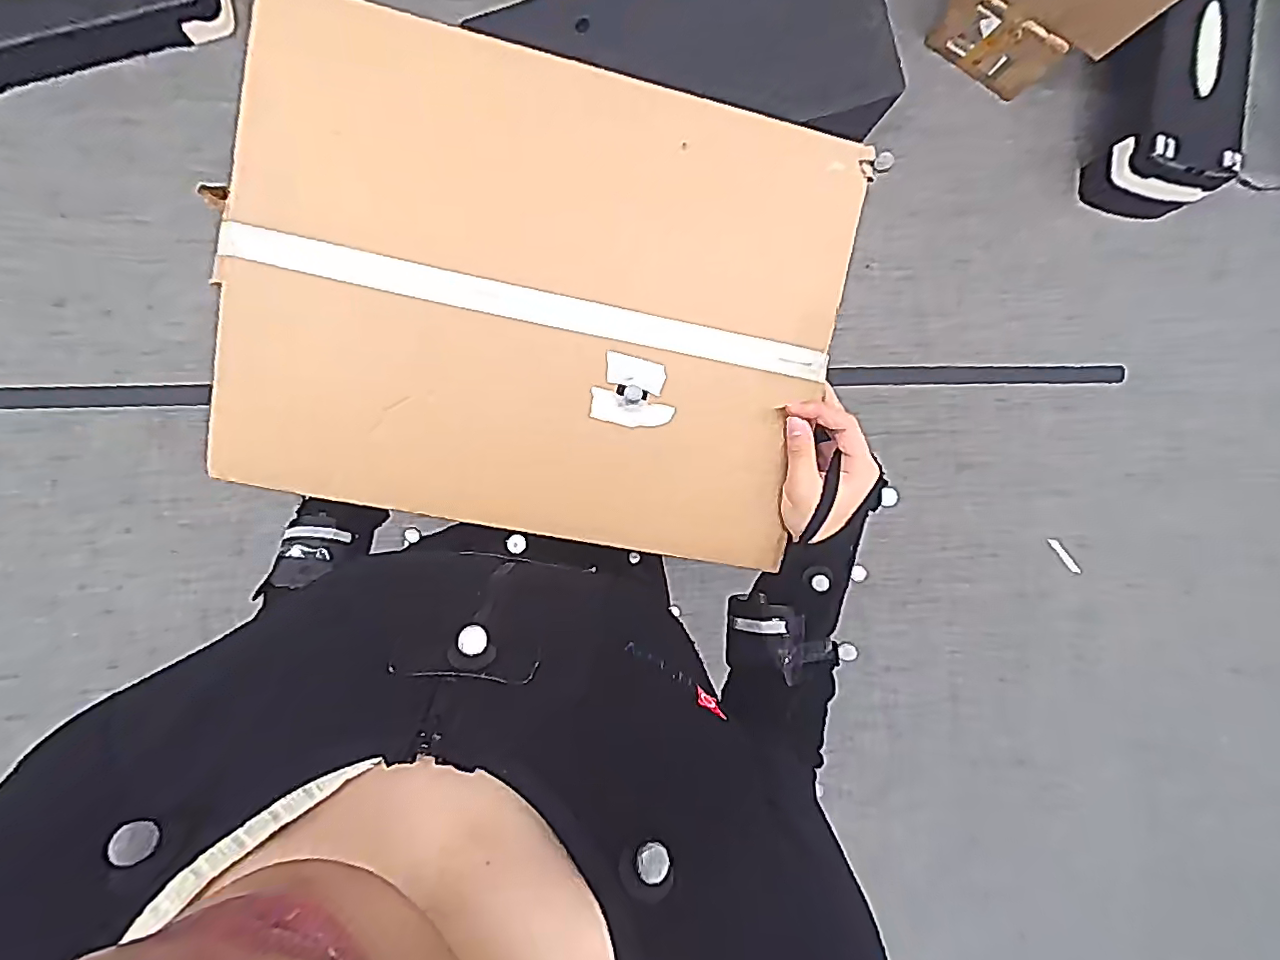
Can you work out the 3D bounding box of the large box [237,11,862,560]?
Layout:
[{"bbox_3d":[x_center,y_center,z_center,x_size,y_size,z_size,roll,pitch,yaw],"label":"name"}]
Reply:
[{"bbox_3d":[-0.076,-0.134,0.525,0.408,0.320,0.320,10,97,-9],"label":"large box"}]
